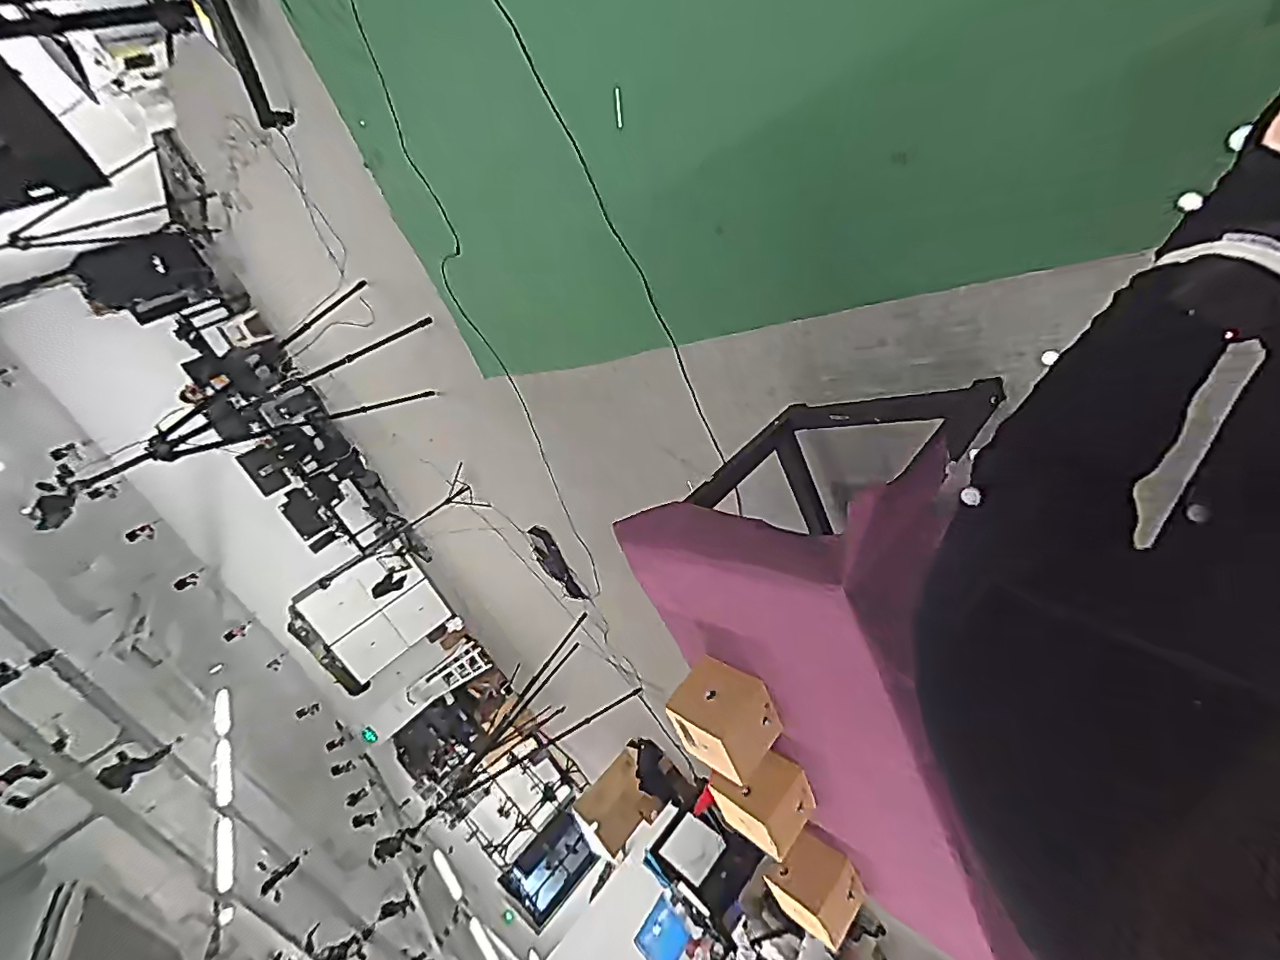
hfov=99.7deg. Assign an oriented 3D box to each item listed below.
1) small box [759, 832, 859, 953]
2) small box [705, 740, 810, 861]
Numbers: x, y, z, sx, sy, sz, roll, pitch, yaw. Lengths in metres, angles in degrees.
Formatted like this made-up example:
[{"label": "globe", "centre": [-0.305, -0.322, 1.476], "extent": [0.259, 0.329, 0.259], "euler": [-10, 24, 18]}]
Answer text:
[{"label": "small box", "centre": [0.463, 1.108, 1.474], "extent": [0.179, 0.176, 0.168], "euler": [2, 124, 53]}, {"label": "small box", "centre": [0.300, 0.796, 1.366], "extent": [0.179, 0.176, 0.168], "euler": [10, 131, 48]}]
